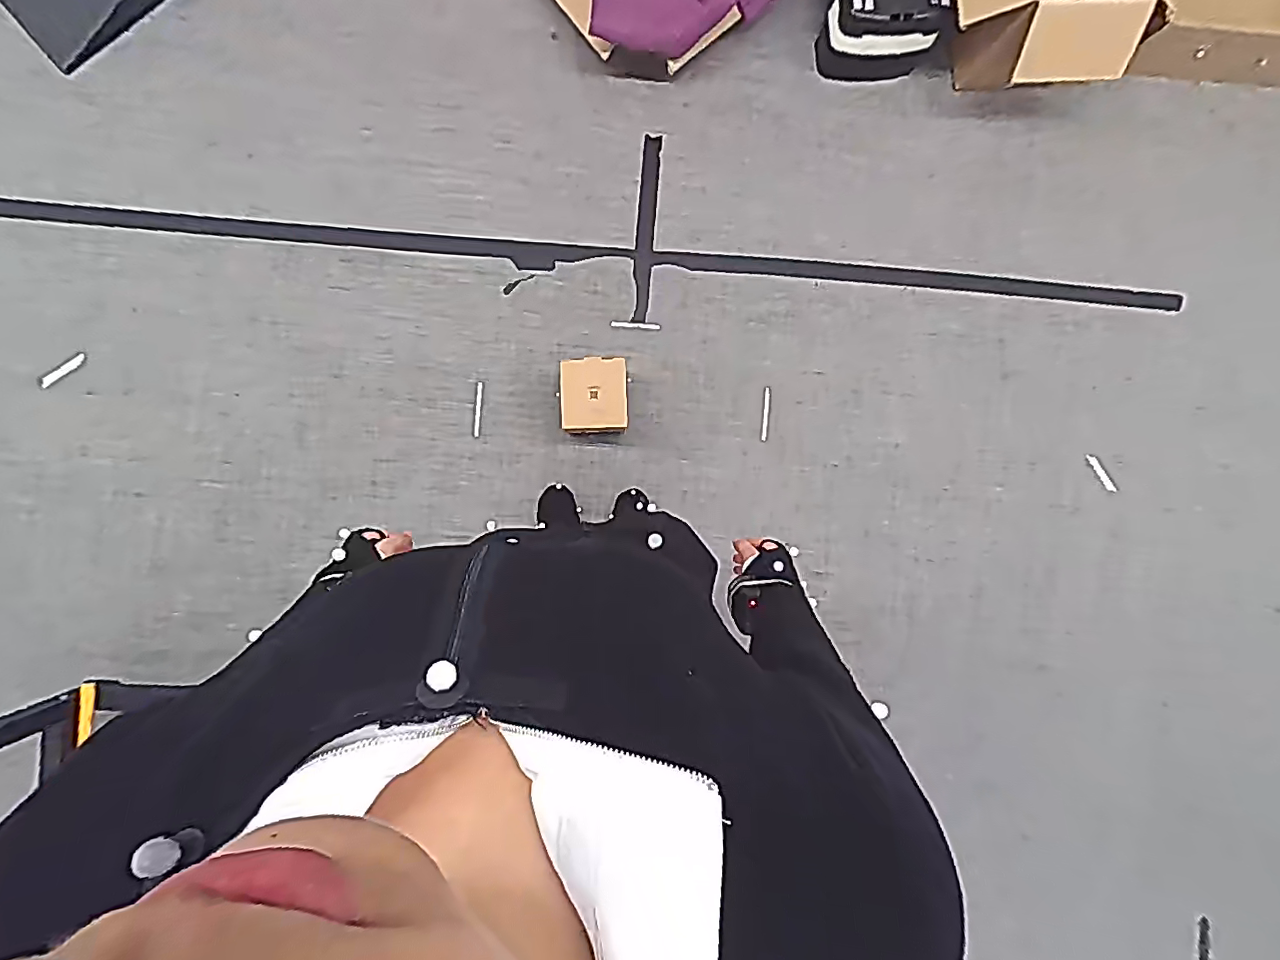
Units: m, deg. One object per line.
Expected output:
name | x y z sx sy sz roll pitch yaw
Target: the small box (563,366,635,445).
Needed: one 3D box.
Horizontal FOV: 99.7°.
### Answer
small box | -0.101 -0.180 1.341 0.168 0.176 0.179 -3 92 -3
